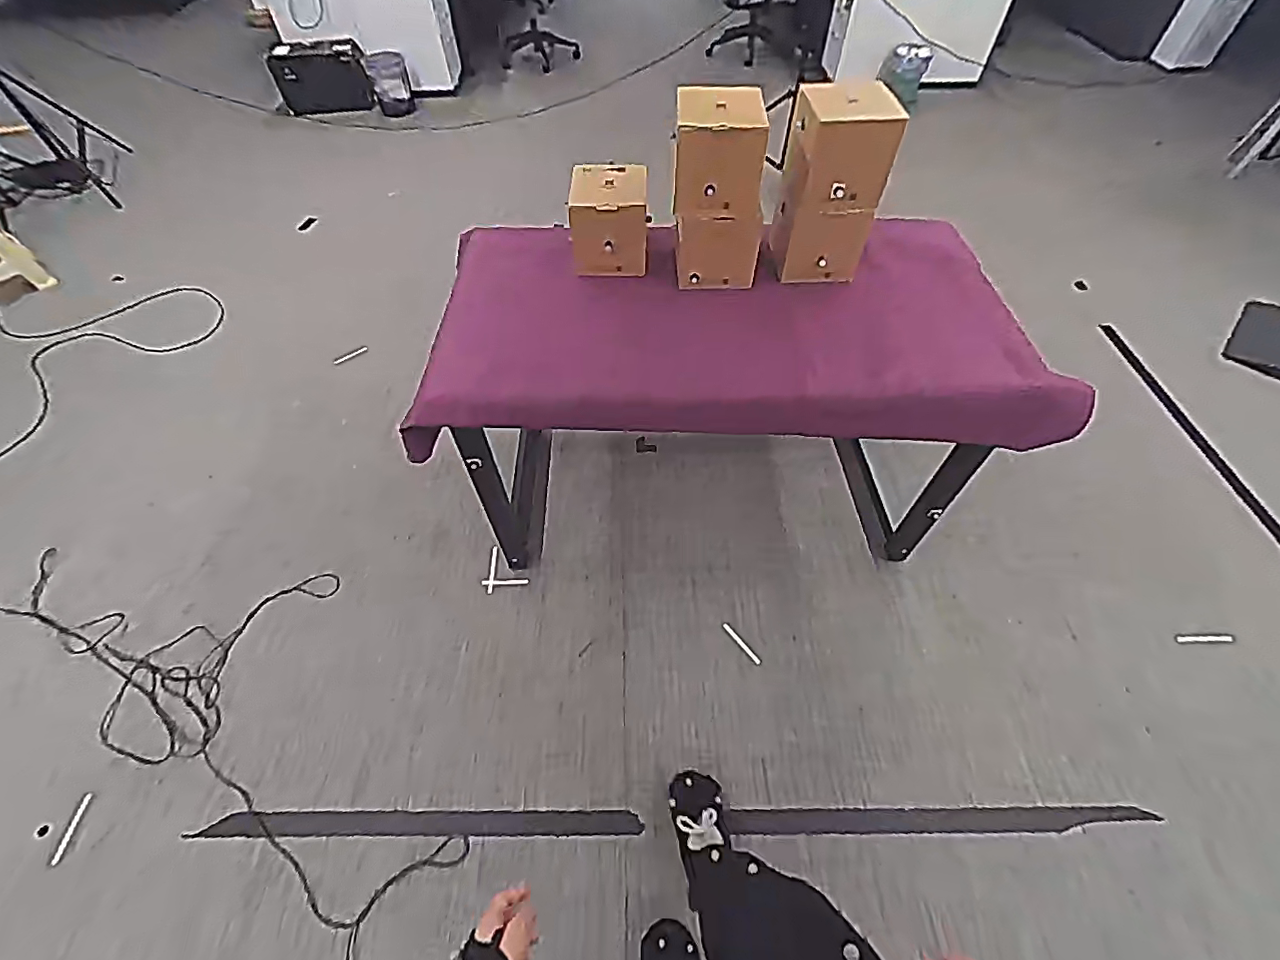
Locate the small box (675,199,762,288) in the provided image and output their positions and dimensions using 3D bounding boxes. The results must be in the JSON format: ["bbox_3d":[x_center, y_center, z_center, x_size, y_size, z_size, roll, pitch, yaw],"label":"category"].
[{"bbox_3d":[0.167,-0.546,1.204,0.168,0.176,0.179,-1,54,-1],"label":"small box"}]

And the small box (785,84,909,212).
[{"bbox_3d":[0.402,-0.665,1.088,0.168,0.176,0.179,-3,55,-1],"label":"small box"}]

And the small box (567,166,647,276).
[{"bbox_3d":[-0.068,-0.586,1.232,0.168,0.176,0.179,1,56,1],"label":"small box"}]

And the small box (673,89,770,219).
[{"bbox_3d":[0.152,-0.645,1.075,0.168,0.176,0.179,1,55,1],"label":"small box"}]

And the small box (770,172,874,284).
[{"bbox_3d":[0.397,-0.566,1.217,0.168,0.176,0.179,-1,55,0],"label":"small box"}]
